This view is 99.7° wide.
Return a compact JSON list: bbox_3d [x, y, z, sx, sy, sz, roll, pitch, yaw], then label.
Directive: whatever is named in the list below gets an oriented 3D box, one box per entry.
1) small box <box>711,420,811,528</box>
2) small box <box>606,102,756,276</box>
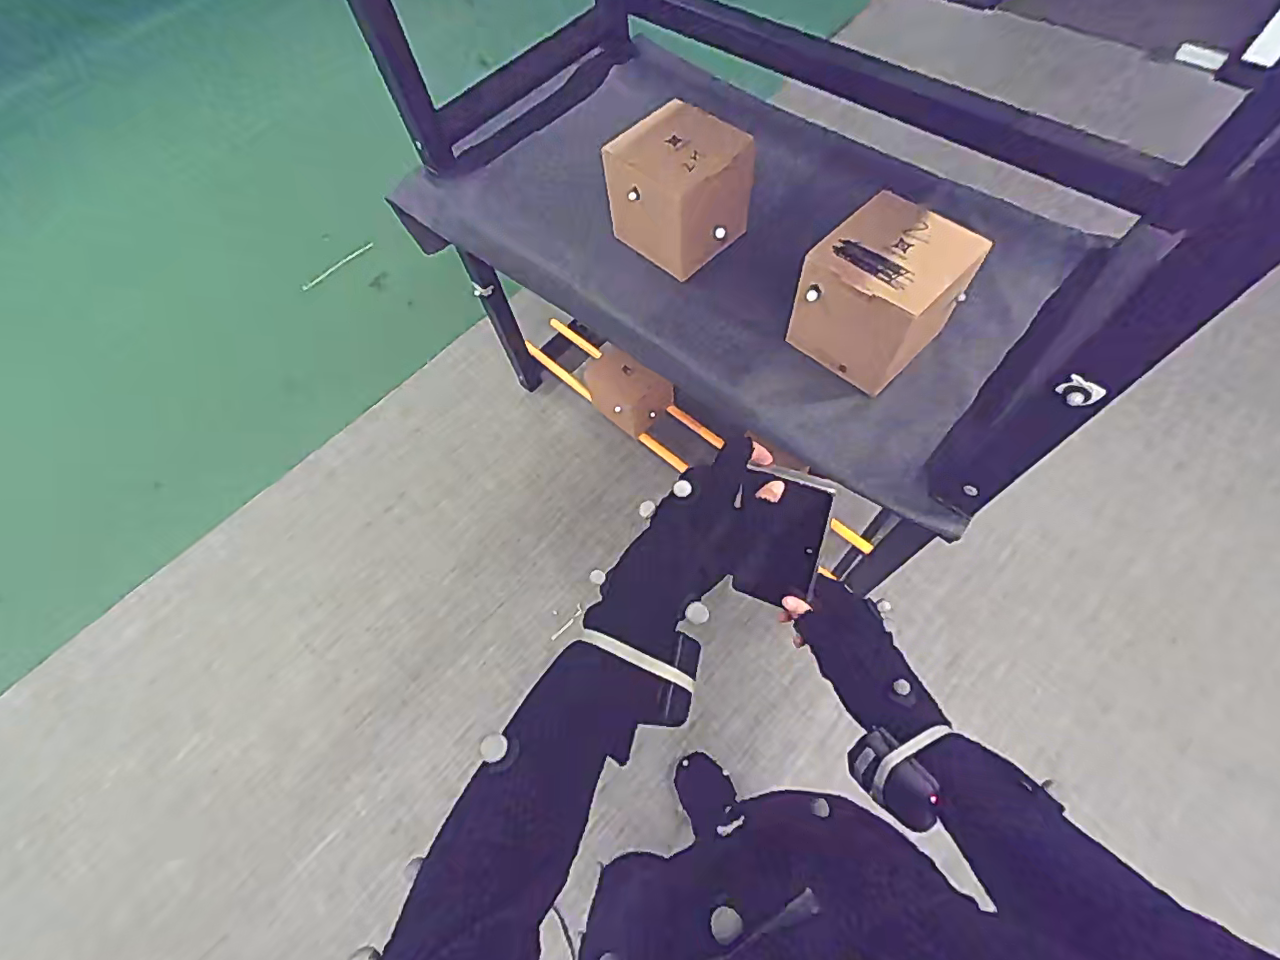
[{"bbox_3d":[0.296,-0.008,1.350,0.179,0.176,0.168,-42,68,-14],"label":"small box"},{"bbox_3d":[0.067,-0.480,0.906,0.168,0.176,0.179,-42,68,-14],"label":"small box"}]
